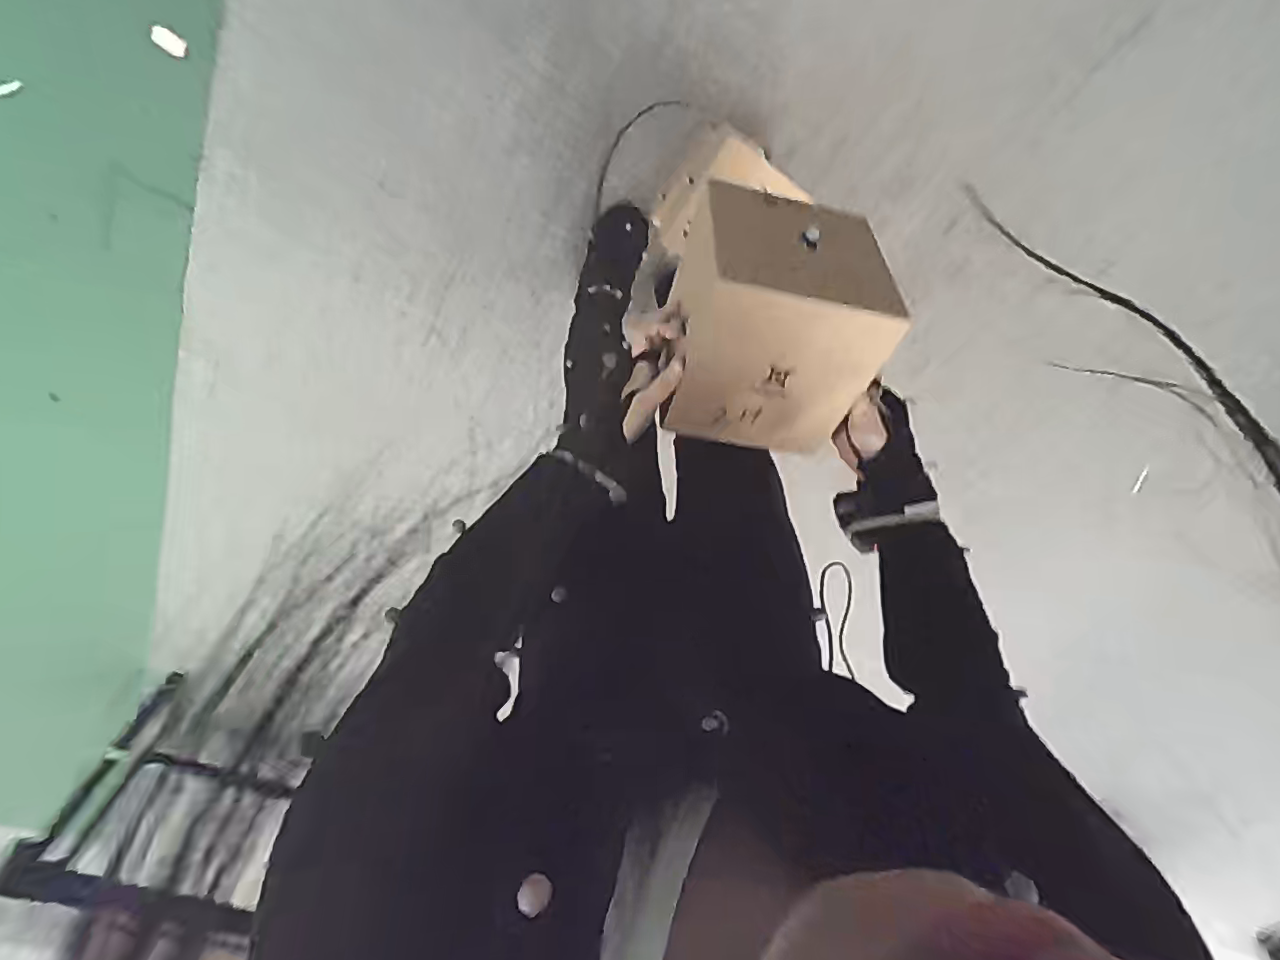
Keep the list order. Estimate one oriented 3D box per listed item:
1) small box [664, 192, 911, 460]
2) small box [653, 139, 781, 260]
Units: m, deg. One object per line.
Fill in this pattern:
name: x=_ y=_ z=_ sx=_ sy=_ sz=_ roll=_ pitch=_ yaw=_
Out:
small box: x=0.122 y=-0.148 z=0.532 sx=0.168 sy=0.176 sz=0.179 roll=10 pitch=143 yaw=-9
small box: x=0.136 y=-0.517 z=1.031 sx=0.168 sy=0.176 sz=0.179 roll=33 pitch=120 yaw=-21
